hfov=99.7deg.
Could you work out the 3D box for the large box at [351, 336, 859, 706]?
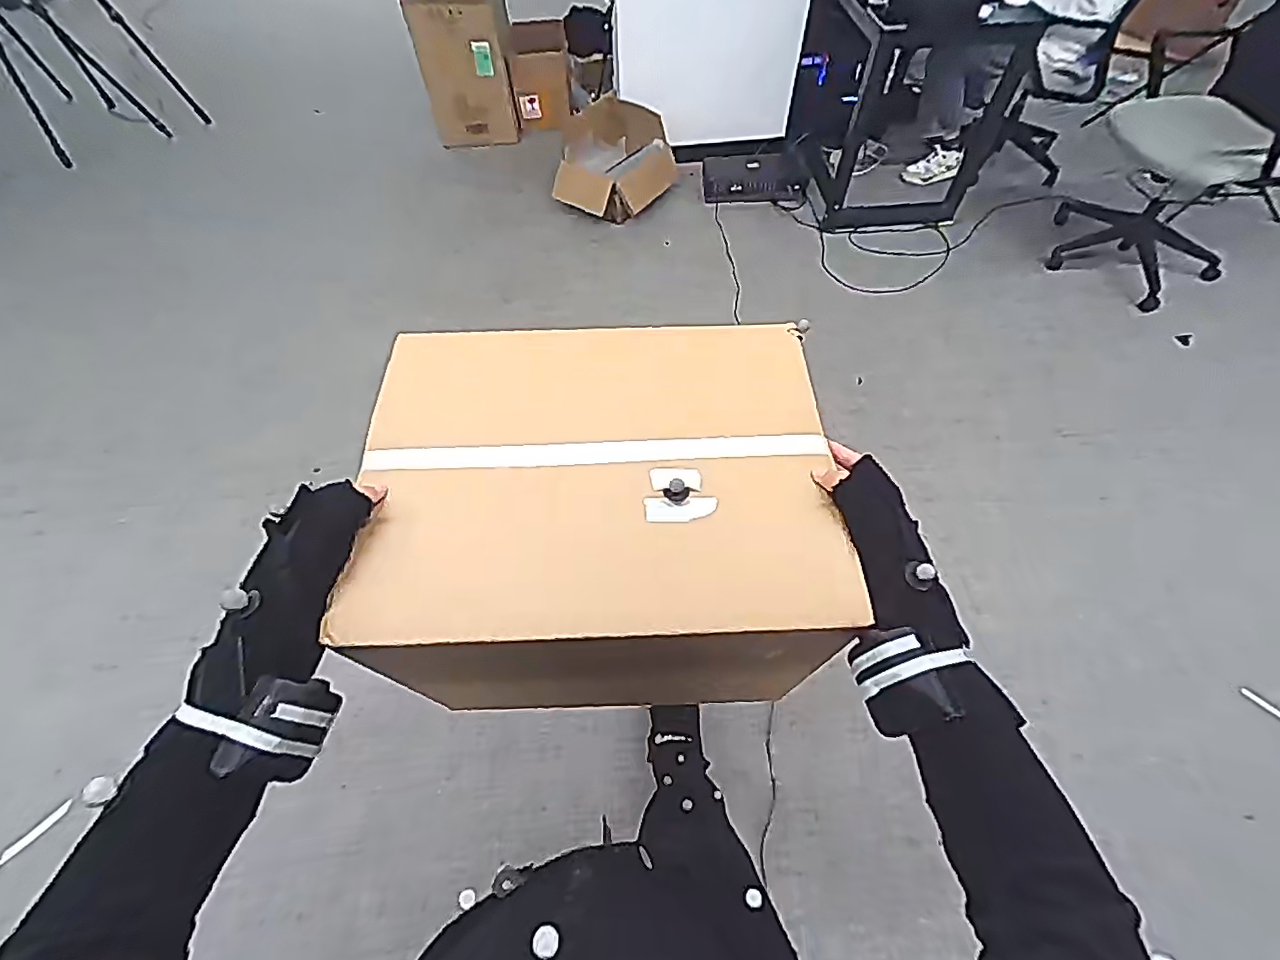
[{"bbox_3d":[-0.033,0.061,0.620,0.408,0.320,0.320,-2,59,-1],"label":"large box"}]
